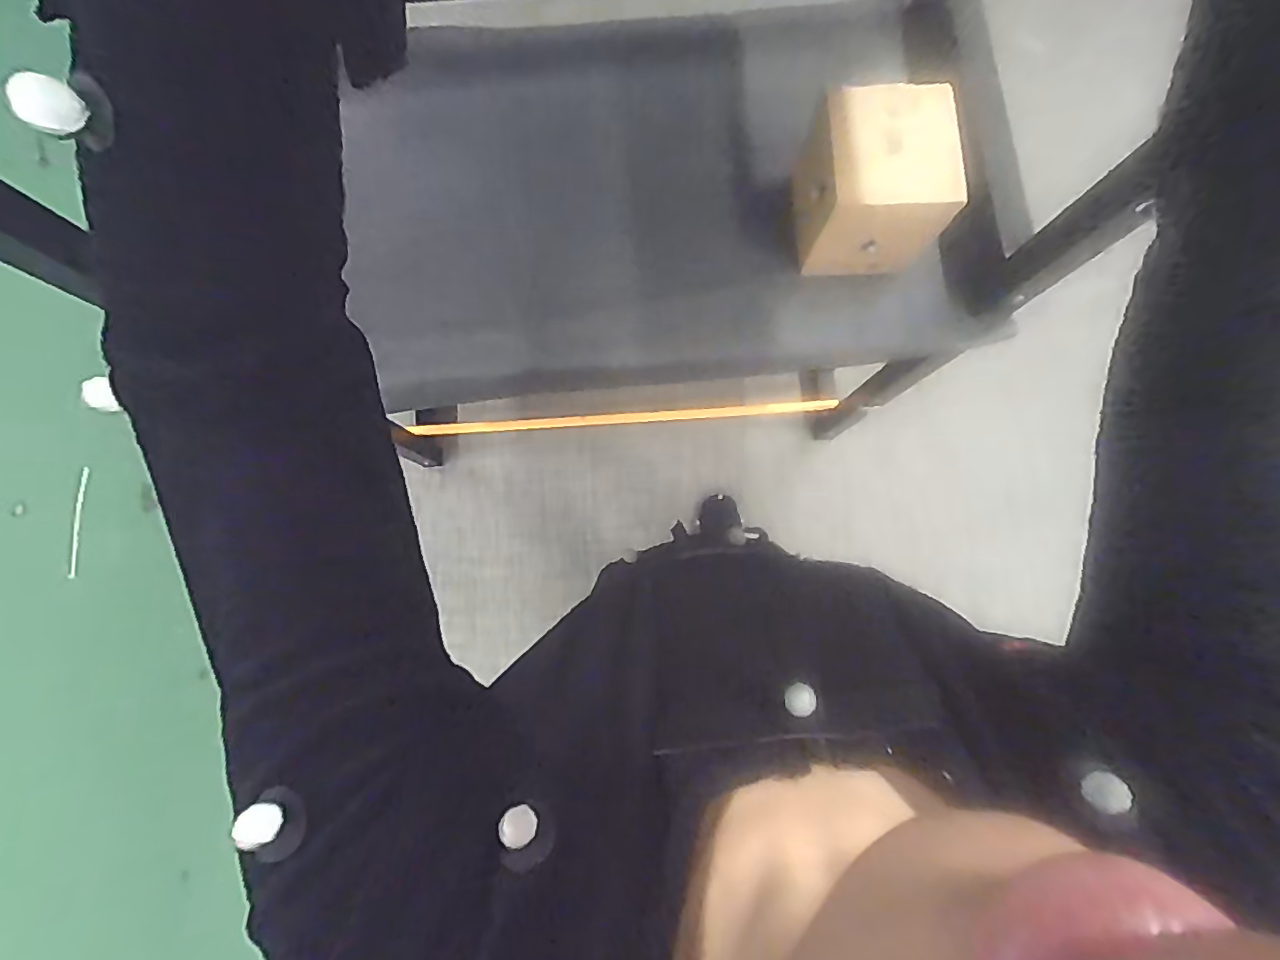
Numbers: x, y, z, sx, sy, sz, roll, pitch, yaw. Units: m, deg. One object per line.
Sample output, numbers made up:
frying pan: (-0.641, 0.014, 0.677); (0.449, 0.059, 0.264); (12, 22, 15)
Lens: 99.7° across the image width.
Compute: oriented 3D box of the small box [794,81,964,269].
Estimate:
small box: (0.326, -0.419, 0.769); (0.168, 0.176, 0.179); (-1, 80, 0)
